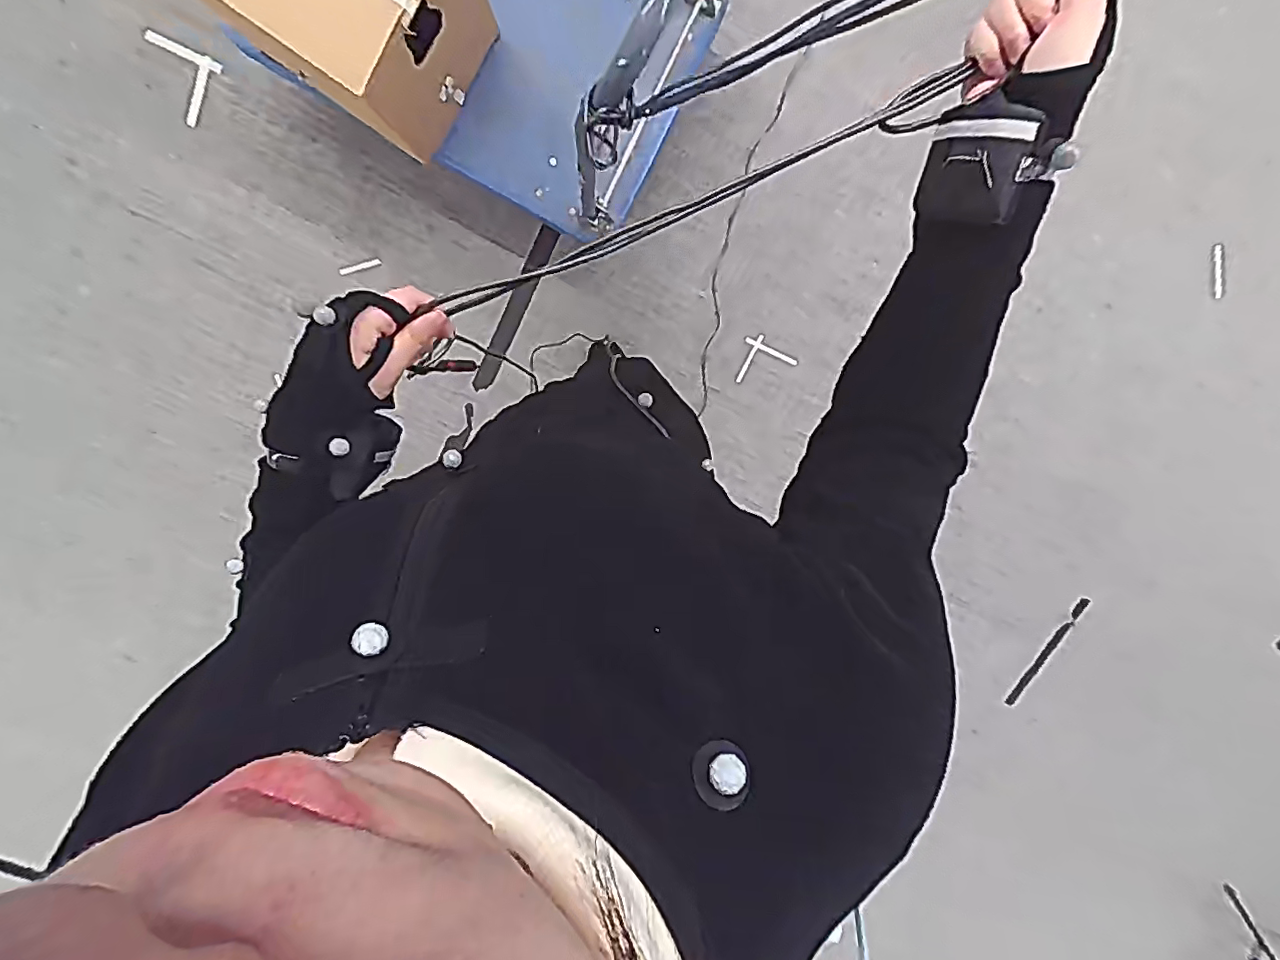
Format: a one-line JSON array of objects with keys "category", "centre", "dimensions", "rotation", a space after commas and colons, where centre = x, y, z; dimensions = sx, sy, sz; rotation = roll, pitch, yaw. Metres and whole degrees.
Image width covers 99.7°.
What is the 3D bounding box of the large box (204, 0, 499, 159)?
[{"category": "large box", "centre": [-0.523, -0.864, 0.947], "dimensions": [0.408, 0.320, 0.320], "rotation": [33, 99, -8]}]
